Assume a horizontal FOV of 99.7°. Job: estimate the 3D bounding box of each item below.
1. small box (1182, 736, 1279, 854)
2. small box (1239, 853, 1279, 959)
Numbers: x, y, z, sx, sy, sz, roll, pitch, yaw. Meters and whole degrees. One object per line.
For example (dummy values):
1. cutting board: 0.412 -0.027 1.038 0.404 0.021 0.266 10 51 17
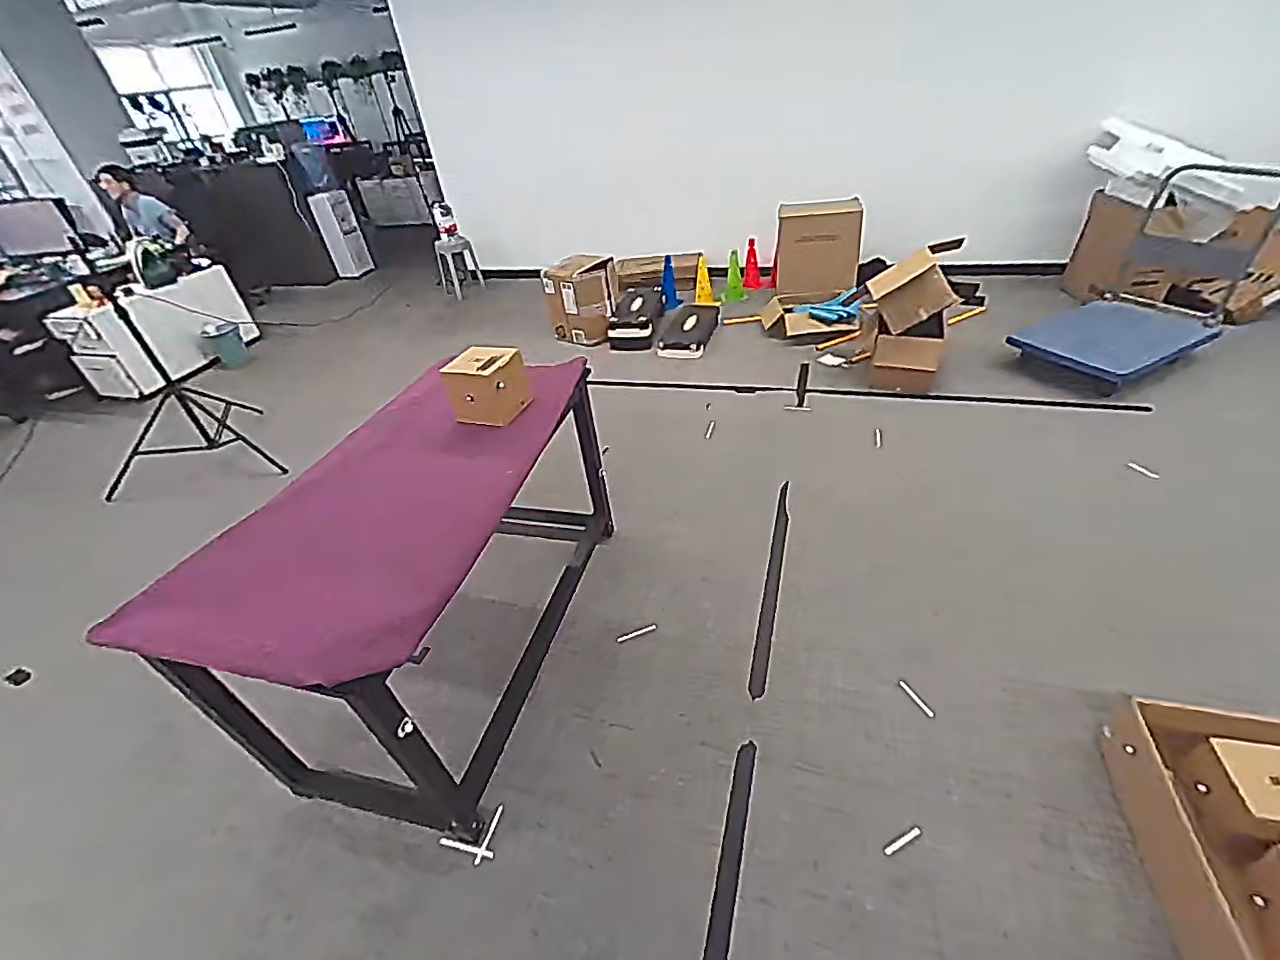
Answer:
1. small box: 1.348 0.691 1.180 0.179 0.176 0.168 4 40 14
2. small box: 1.312 0.827 1.013 0.179 0.176 0.168 8 39 20
